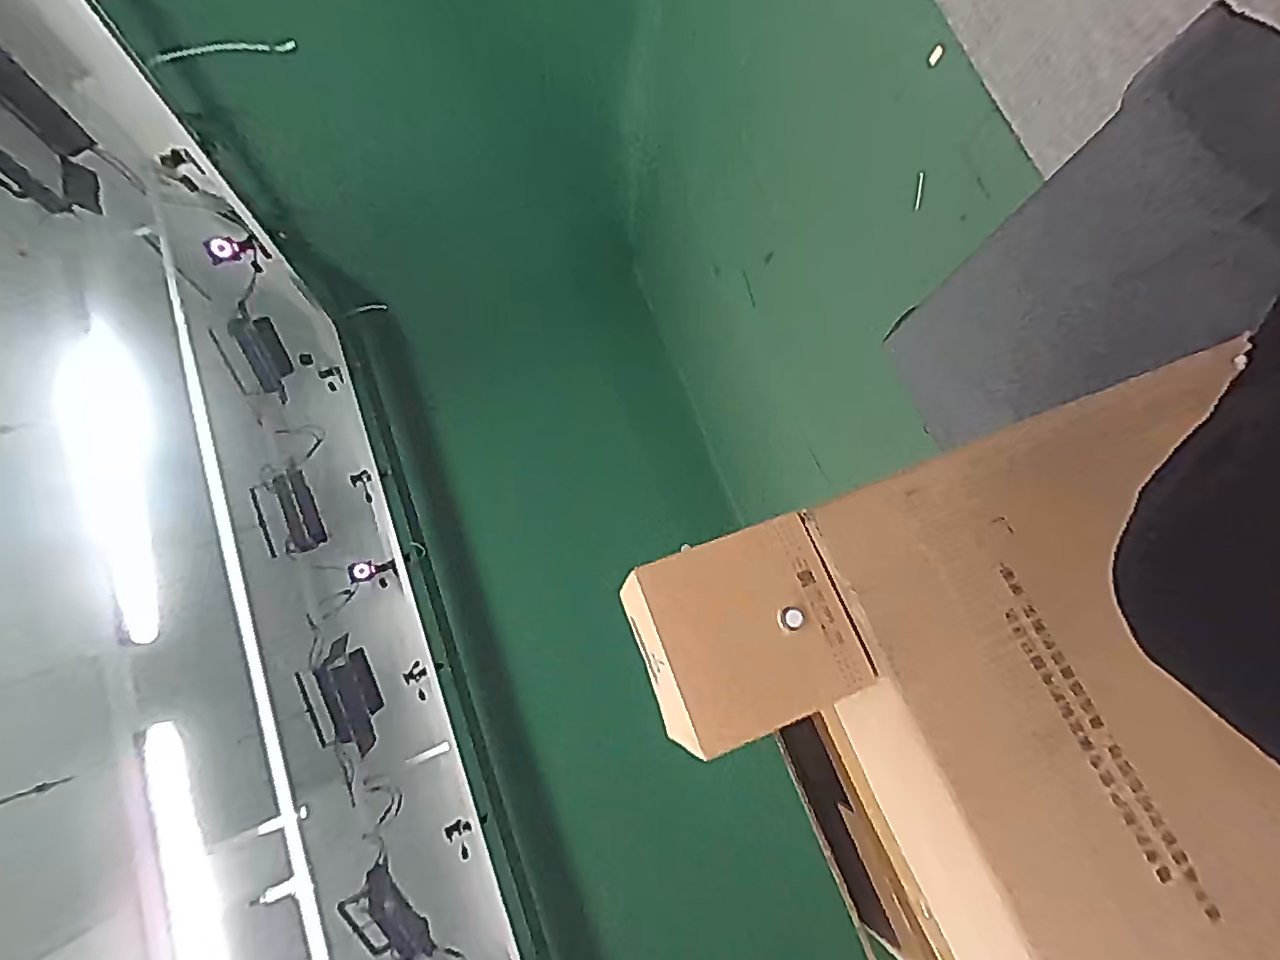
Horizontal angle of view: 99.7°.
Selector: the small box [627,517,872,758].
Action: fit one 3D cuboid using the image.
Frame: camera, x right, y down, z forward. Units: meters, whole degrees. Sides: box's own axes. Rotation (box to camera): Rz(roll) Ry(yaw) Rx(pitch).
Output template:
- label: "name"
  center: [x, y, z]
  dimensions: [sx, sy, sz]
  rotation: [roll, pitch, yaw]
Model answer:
- label: "small box"
  center: [0.098, 0.154, 0.552]
  dimensions: [0.179, 0.176, 0.168]
  rotation: [110, 140, -70]
